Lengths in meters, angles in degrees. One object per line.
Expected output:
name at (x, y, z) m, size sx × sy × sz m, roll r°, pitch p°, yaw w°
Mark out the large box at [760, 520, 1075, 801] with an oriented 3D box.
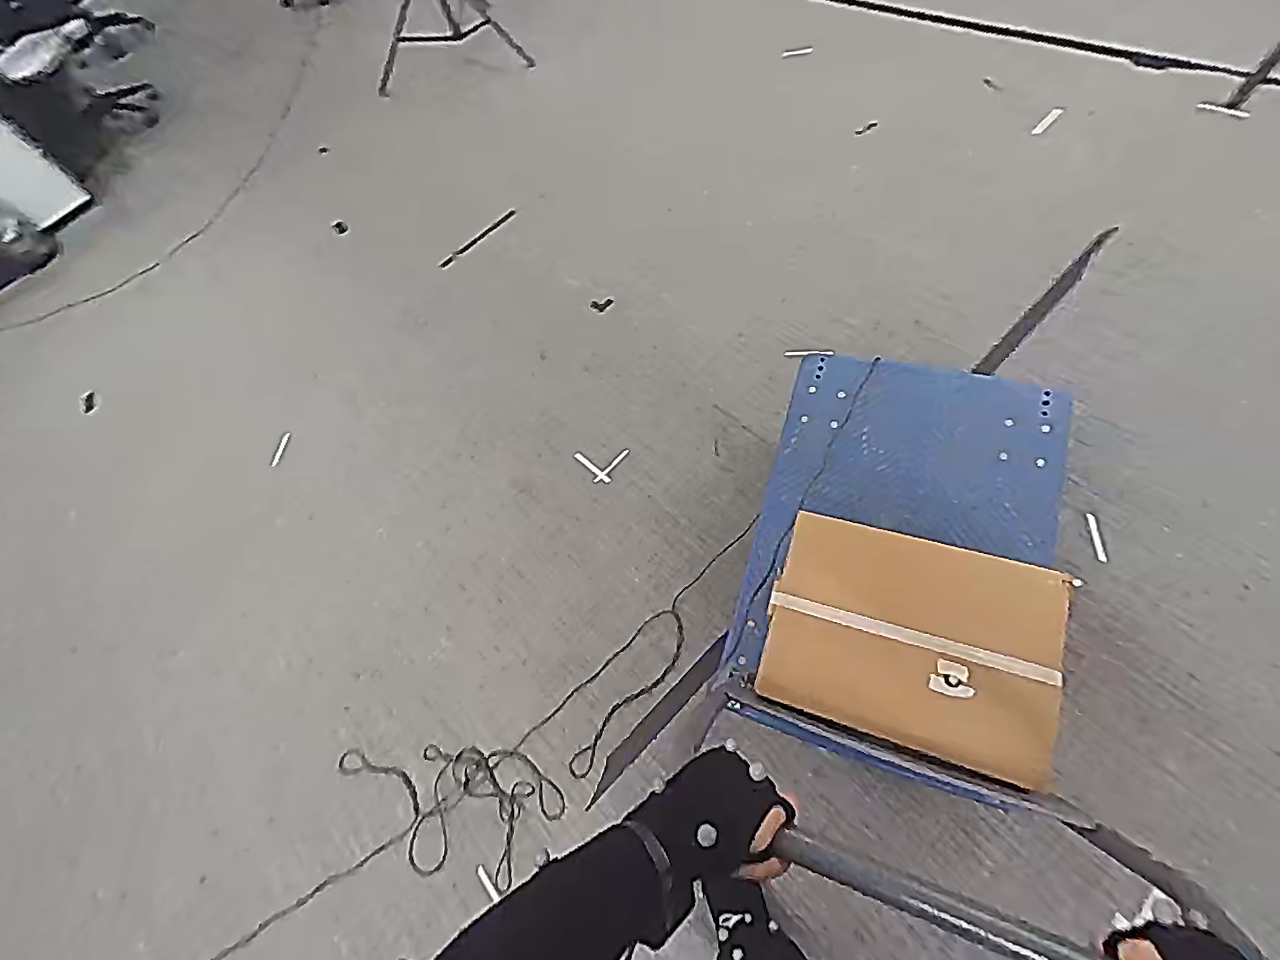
large box at (0.442, 0.296, 0.949) m, size 0.408 × 0.320 × 0.320 m, roll 14°, pitch 75°, yaw 18°
